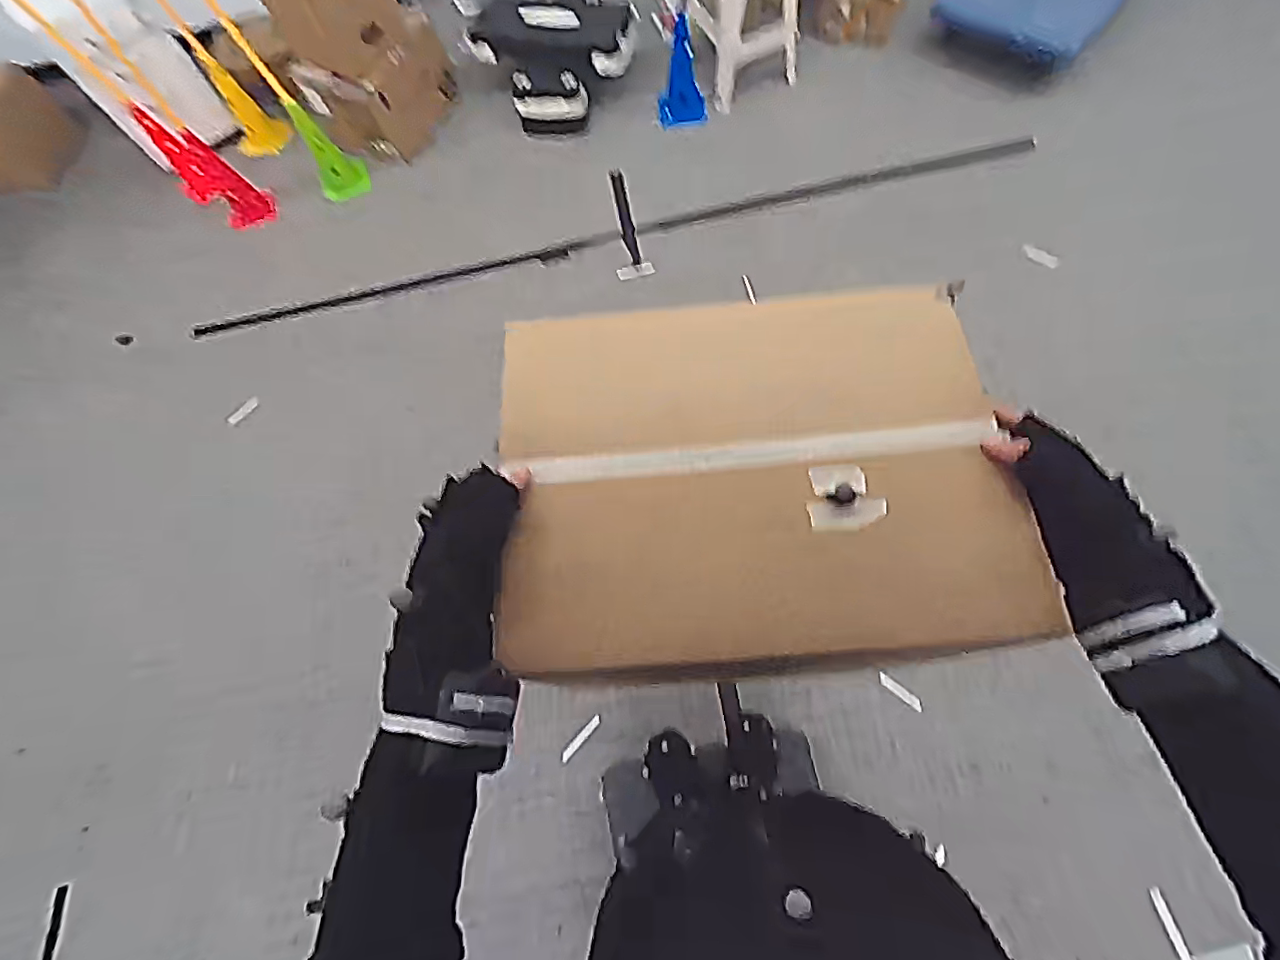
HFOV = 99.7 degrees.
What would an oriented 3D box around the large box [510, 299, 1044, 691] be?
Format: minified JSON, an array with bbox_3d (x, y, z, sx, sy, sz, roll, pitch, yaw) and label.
[{"bbox_3d":[0.095,0.044,0.592,0.408,0.320,0.320,-5,67,2],"label":"large box"}]

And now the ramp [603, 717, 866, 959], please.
[{"bbox_3d":[0.256,1.092,1.180,0.509,0.206,0.991,-14,68,-1],"label":"ramp"}]
